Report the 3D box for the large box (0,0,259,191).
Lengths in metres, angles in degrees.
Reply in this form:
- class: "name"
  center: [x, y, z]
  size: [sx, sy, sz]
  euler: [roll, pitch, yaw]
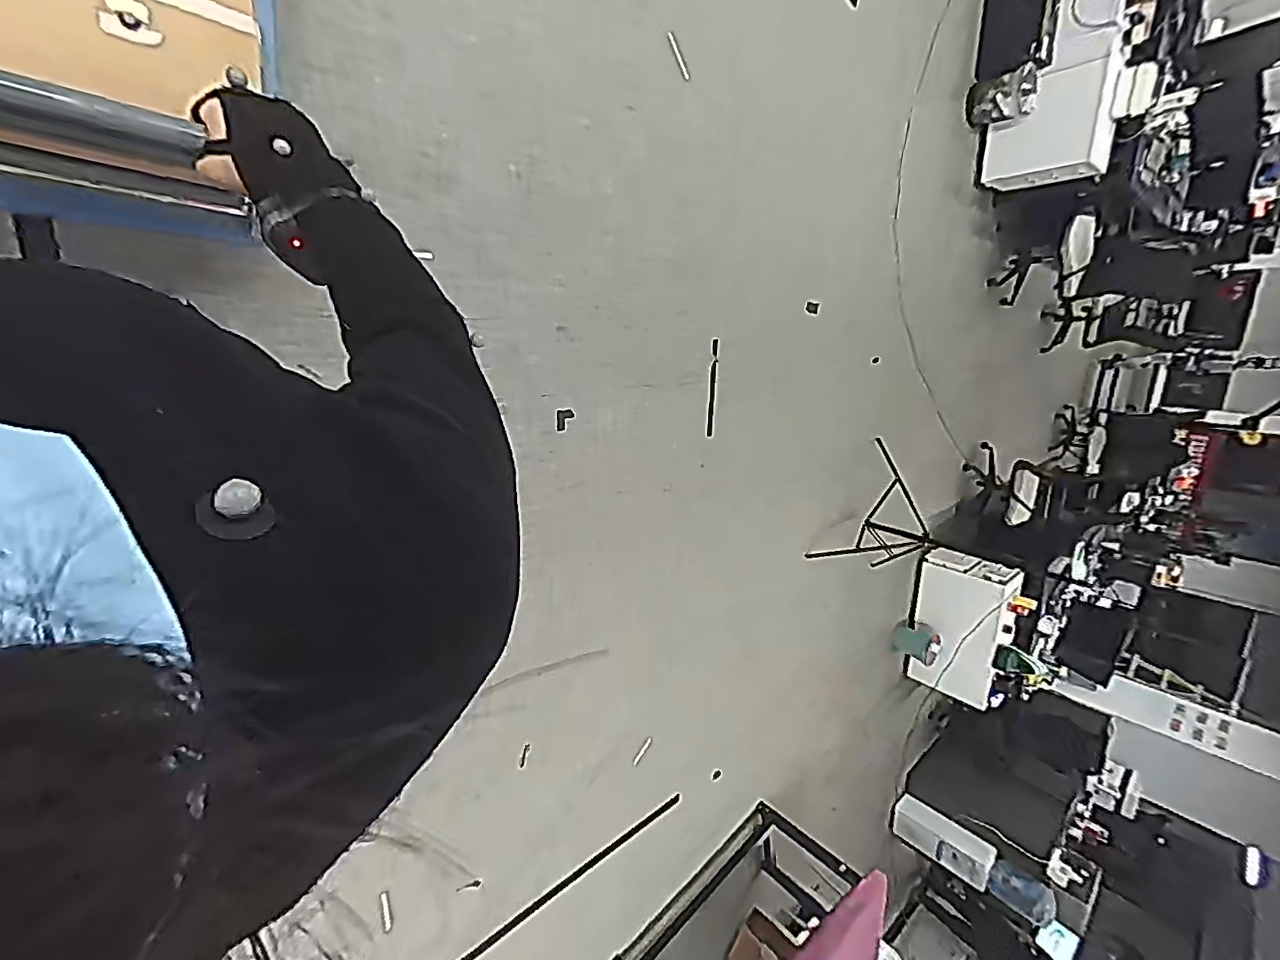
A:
- class: "large box"
  center: [-0.797, -0.633, 0.735]
  size: [0.408, 0.320, 0.320]
  euler: [-7, 107, -42]
